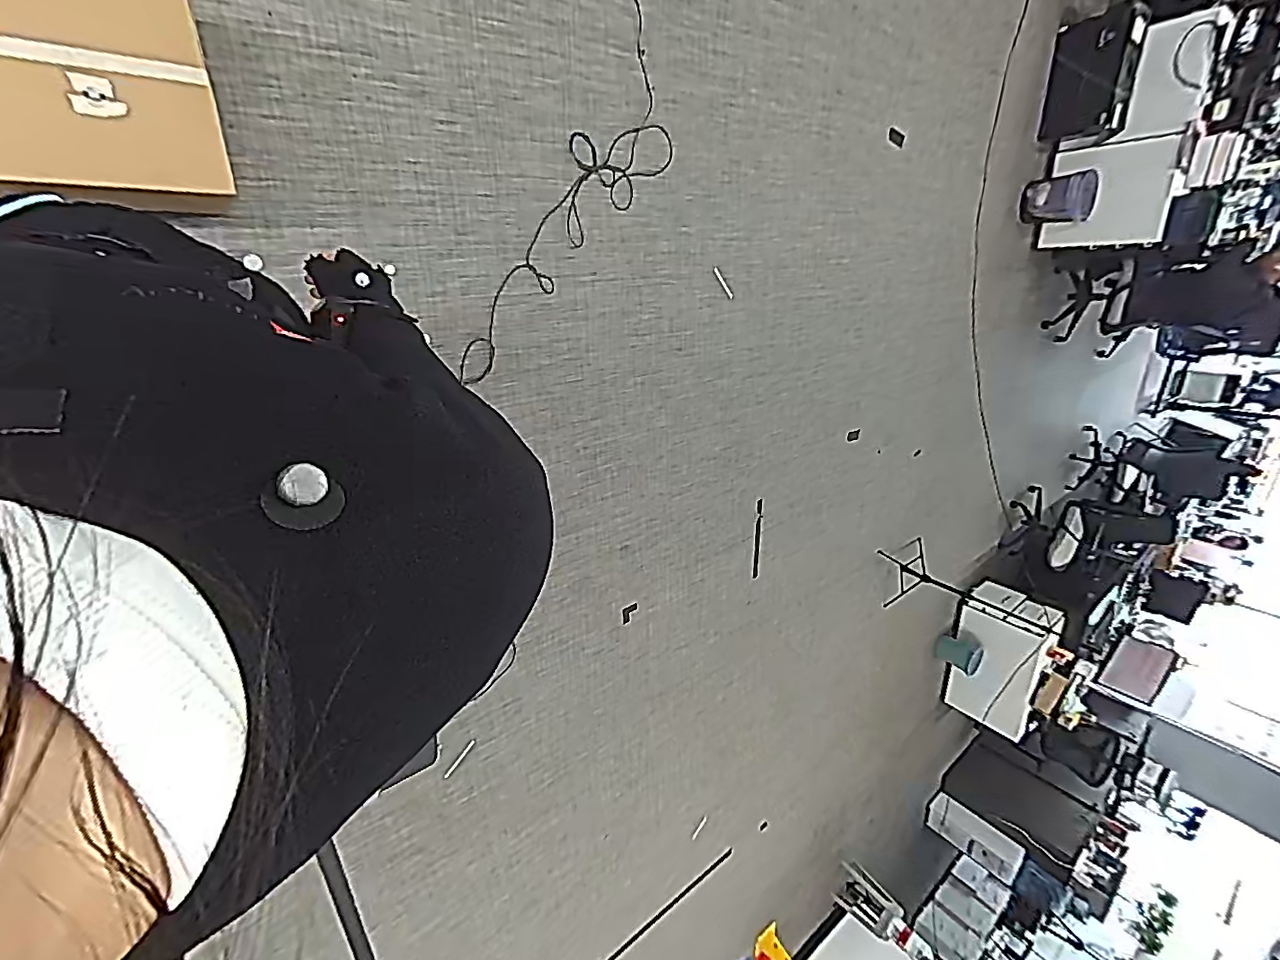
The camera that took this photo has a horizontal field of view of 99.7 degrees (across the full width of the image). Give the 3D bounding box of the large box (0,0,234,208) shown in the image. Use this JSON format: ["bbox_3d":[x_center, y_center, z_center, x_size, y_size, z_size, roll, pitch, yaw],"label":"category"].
[{"bbox_3d":[-0.901,-0.603,0.810,0.408,0.320,0.320,-16,116,-35],"label":"large box"}]
